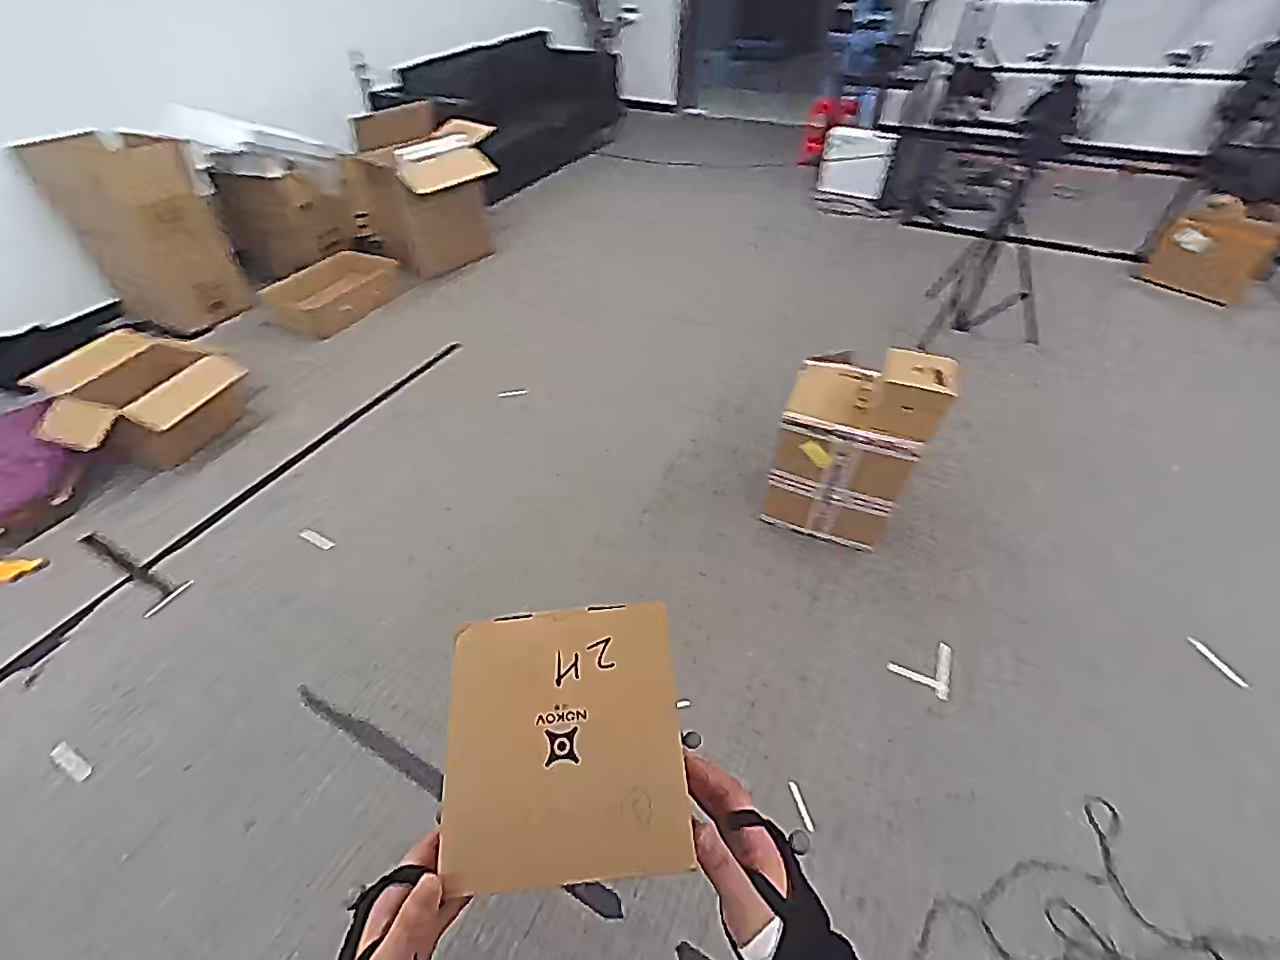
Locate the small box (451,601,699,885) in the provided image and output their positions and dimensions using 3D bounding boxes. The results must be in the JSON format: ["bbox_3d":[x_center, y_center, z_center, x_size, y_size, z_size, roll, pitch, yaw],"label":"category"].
[{"bbox_3d":[-0.042,0.216,0.455,0.168,0.176,0.179,-5,59,0],"label":"small box"}]

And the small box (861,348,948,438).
[{"bbox_3d":[0.746,-0.242,1.528,0.179,0.176,0.168,15,50,14],"label":"small box"}]
